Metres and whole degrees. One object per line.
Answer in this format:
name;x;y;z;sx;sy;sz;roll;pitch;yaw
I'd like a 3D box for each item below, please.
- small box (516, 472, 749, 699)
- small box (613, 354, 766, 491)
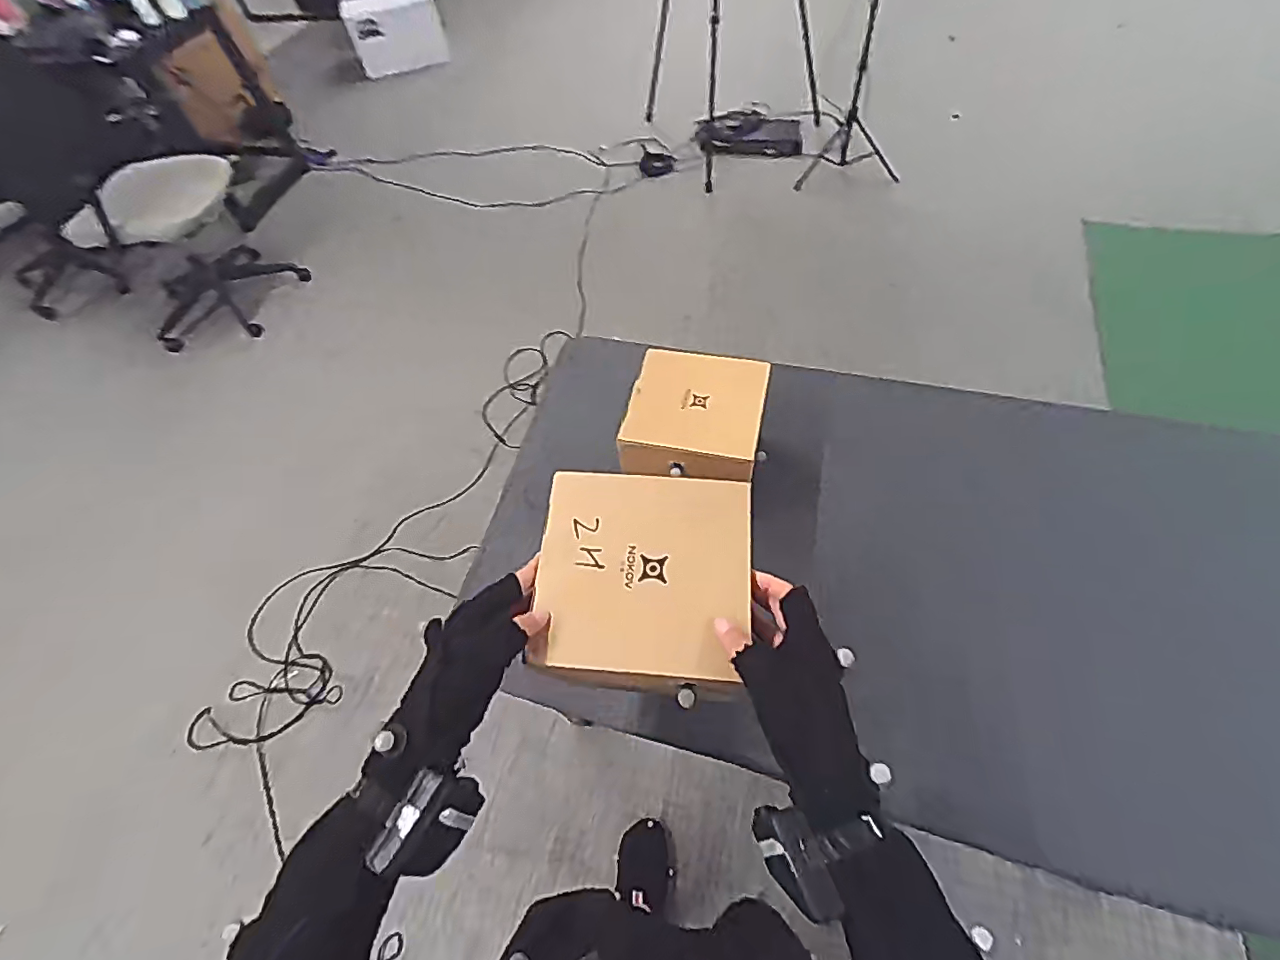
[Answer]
small box;0.003;0.107;0.510;0.179;0.176;0.168;4;64;5
small box;0.076;-0.055;0.775;0.179;0.176;0.168;9;59;13
